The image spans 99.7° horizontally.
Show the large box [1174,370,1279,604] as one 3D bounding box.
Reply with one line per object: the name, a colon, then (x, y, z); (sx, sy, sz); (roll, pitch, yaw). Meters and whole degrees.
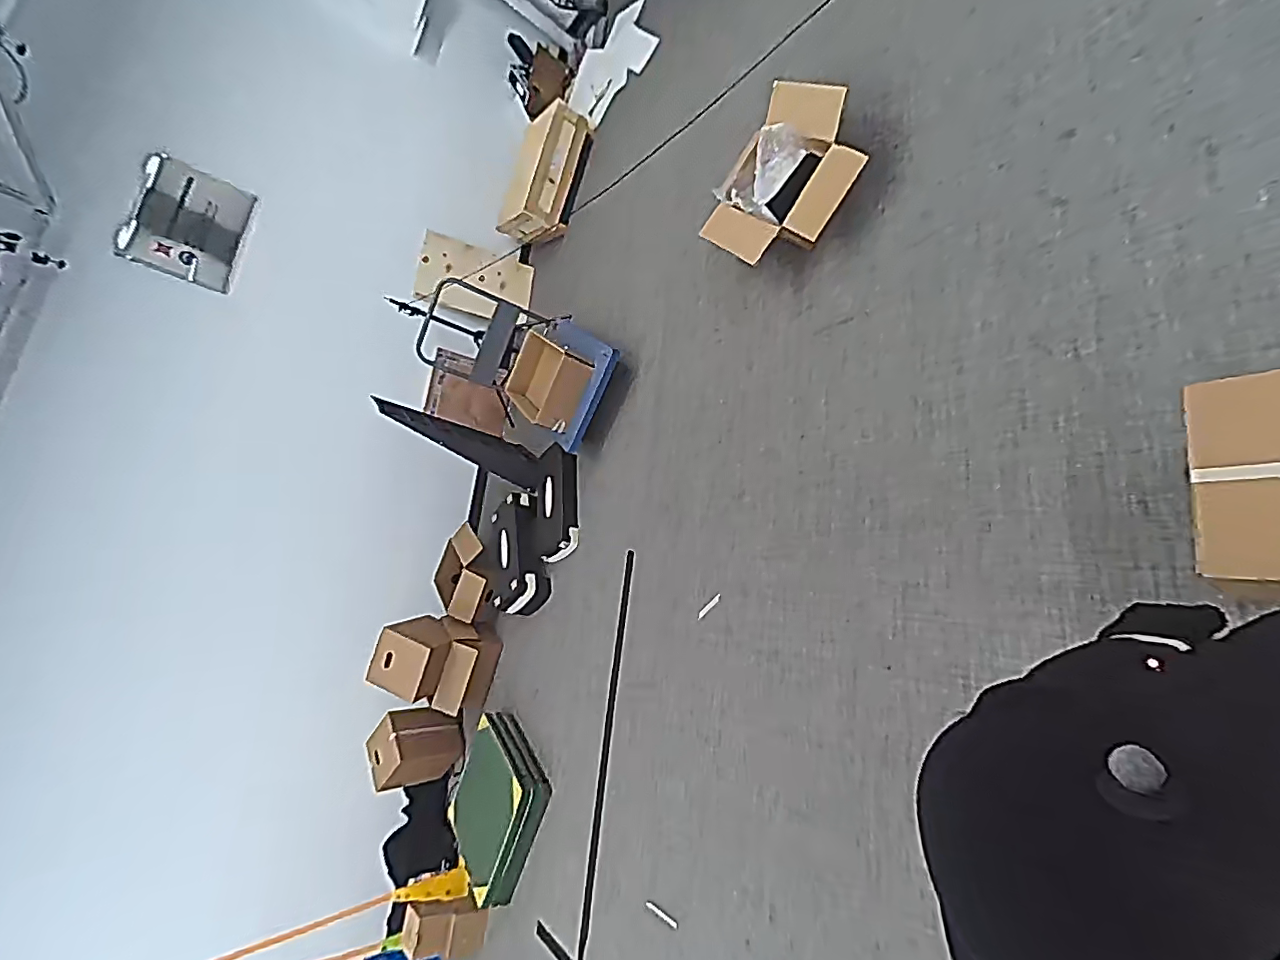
large box: (1.091, 0.015, 0.781); (0.408, 0.320, 0.320); (-9, 70, 52)
